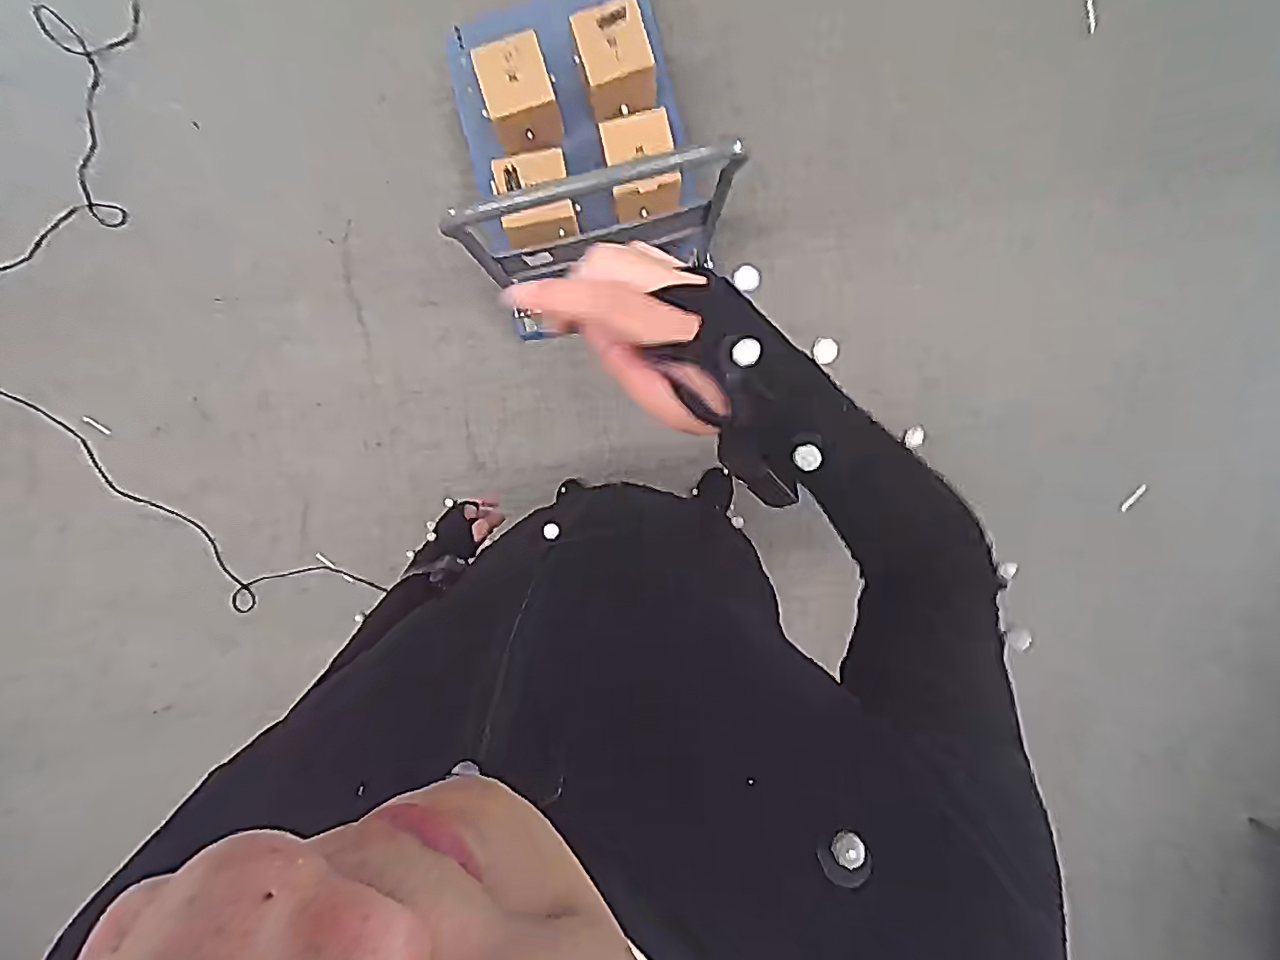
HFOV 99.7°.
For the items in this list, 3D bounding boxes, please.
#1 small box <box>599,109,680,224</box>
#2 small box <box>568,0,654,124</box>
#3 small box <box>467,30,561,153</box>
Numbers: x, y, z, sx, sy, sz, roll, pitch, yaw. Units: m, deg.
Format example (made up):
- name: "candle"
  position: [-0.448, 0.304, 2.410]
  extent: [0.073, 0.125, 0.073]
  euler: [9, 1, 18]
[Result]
- name: "small box"
  position: [-0.002, -0.781, 1.364]
  extent: [0.168, 0.176, 0.179]
  euler: [-13, 91, 2]
- name: "small box"
  position: [-0.068, -1.043, 1.357]
  extent: [0.168, 0.176, 0.179]
  euler: [-17, 92, 3]
- name: "small box"
  position: [-0.308, -0.965, 1.367]
  extent: [0.168, 0.176, 0.179]
  euler: [-17, 91, 1]
